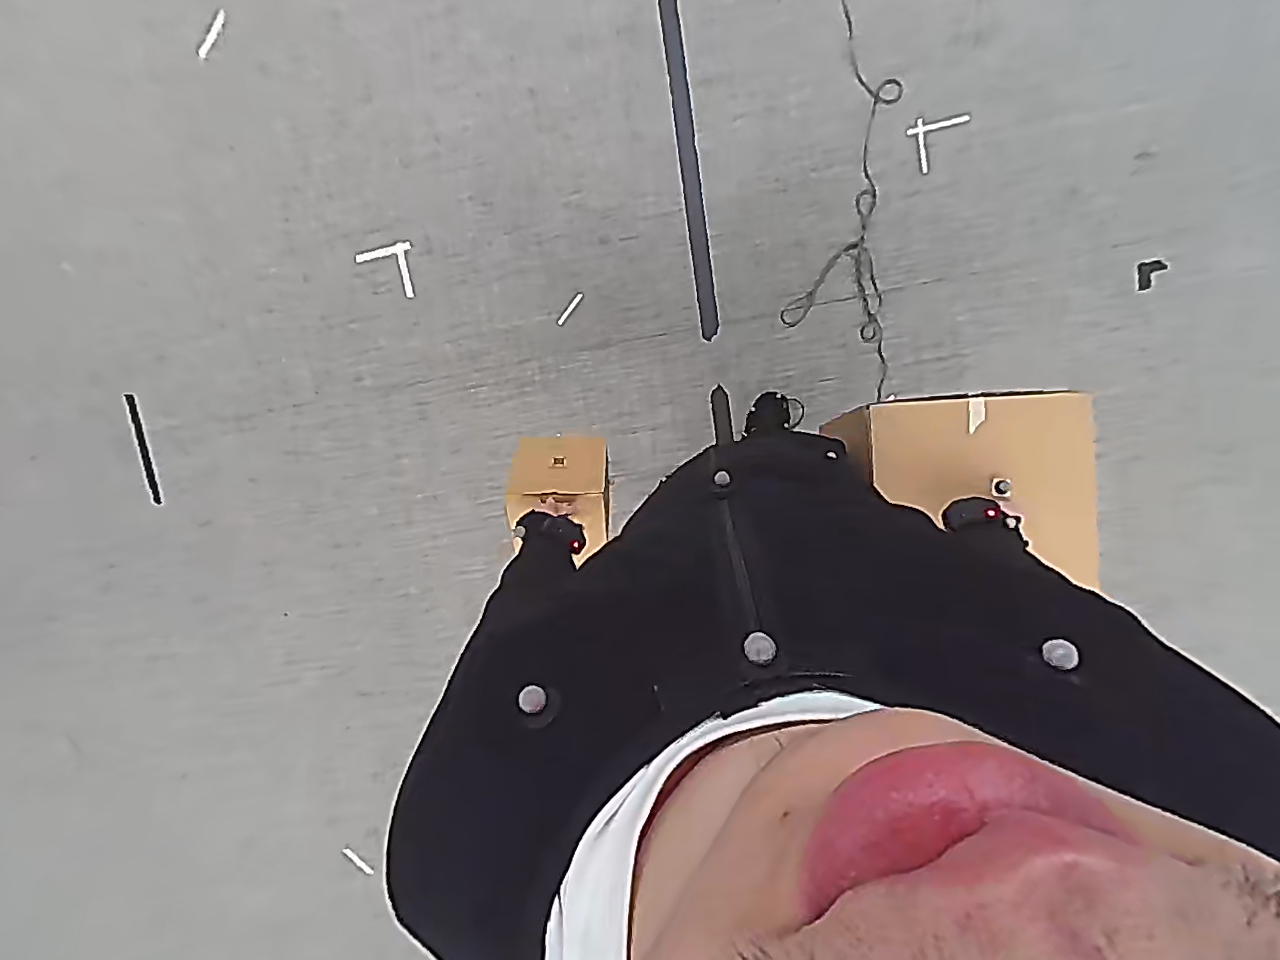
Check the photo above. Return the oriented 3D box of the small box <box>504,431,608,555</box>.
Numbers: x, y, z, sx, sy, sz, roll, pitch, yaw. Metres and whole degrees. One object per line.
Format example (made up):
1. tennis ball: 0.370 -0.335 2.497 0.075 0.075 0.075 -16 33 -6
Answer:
1. small box: -0.146 0.026 1.005 0.168 0.179 0.176 0 130 -2
